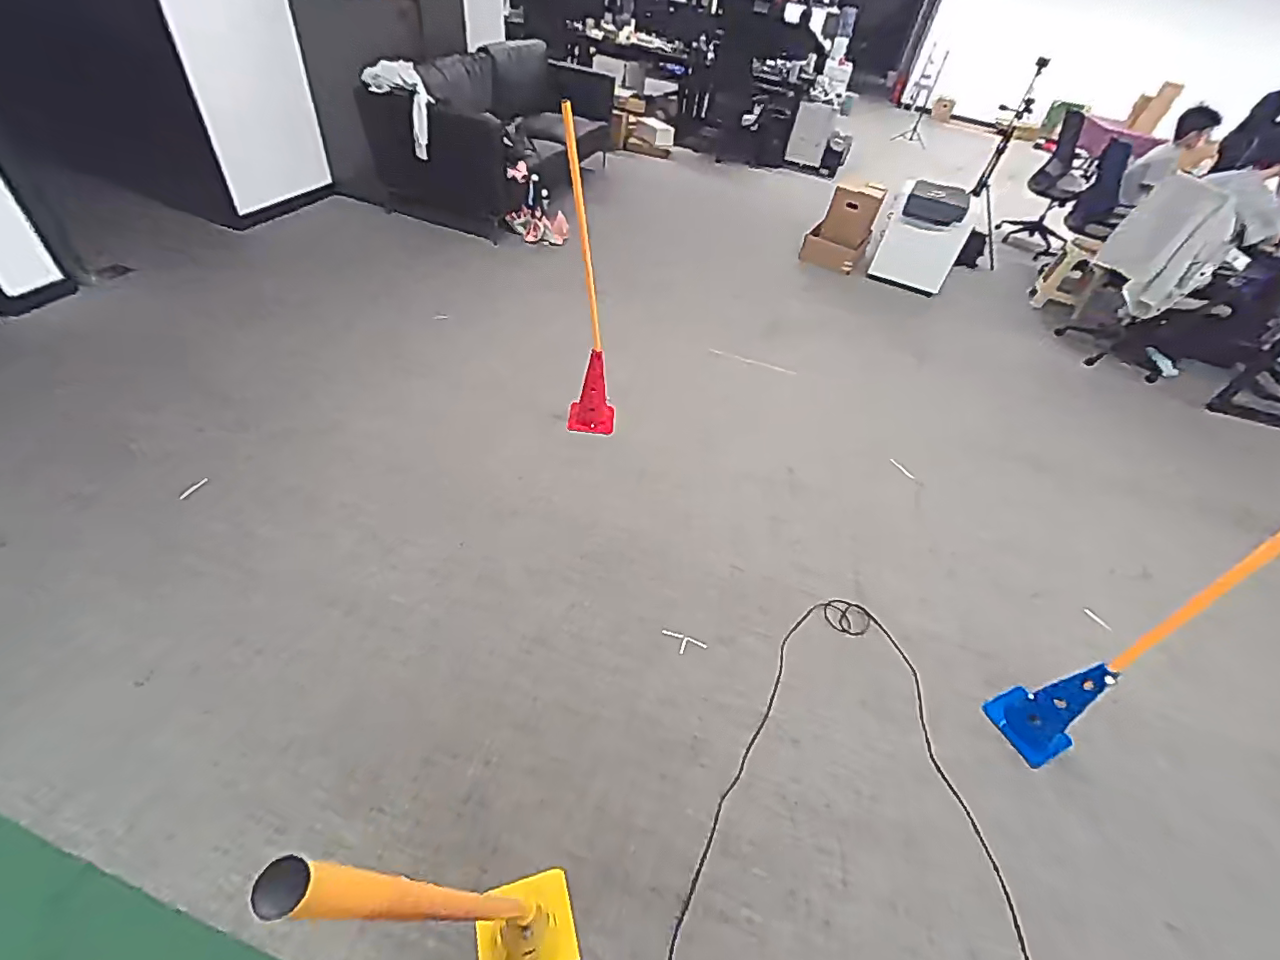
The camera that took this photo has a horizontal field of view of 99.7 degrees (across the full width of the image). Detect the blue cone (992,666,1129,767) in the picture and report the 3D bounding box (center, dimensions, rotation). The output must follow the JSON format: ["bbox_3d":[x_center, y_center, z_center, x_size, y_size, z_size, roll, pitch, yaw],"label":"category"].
[{"bbox_3d":[1.208,0.625,1.525,0.193,0.380,0.192,-12,48,-25],"label":"blue cone"}]
